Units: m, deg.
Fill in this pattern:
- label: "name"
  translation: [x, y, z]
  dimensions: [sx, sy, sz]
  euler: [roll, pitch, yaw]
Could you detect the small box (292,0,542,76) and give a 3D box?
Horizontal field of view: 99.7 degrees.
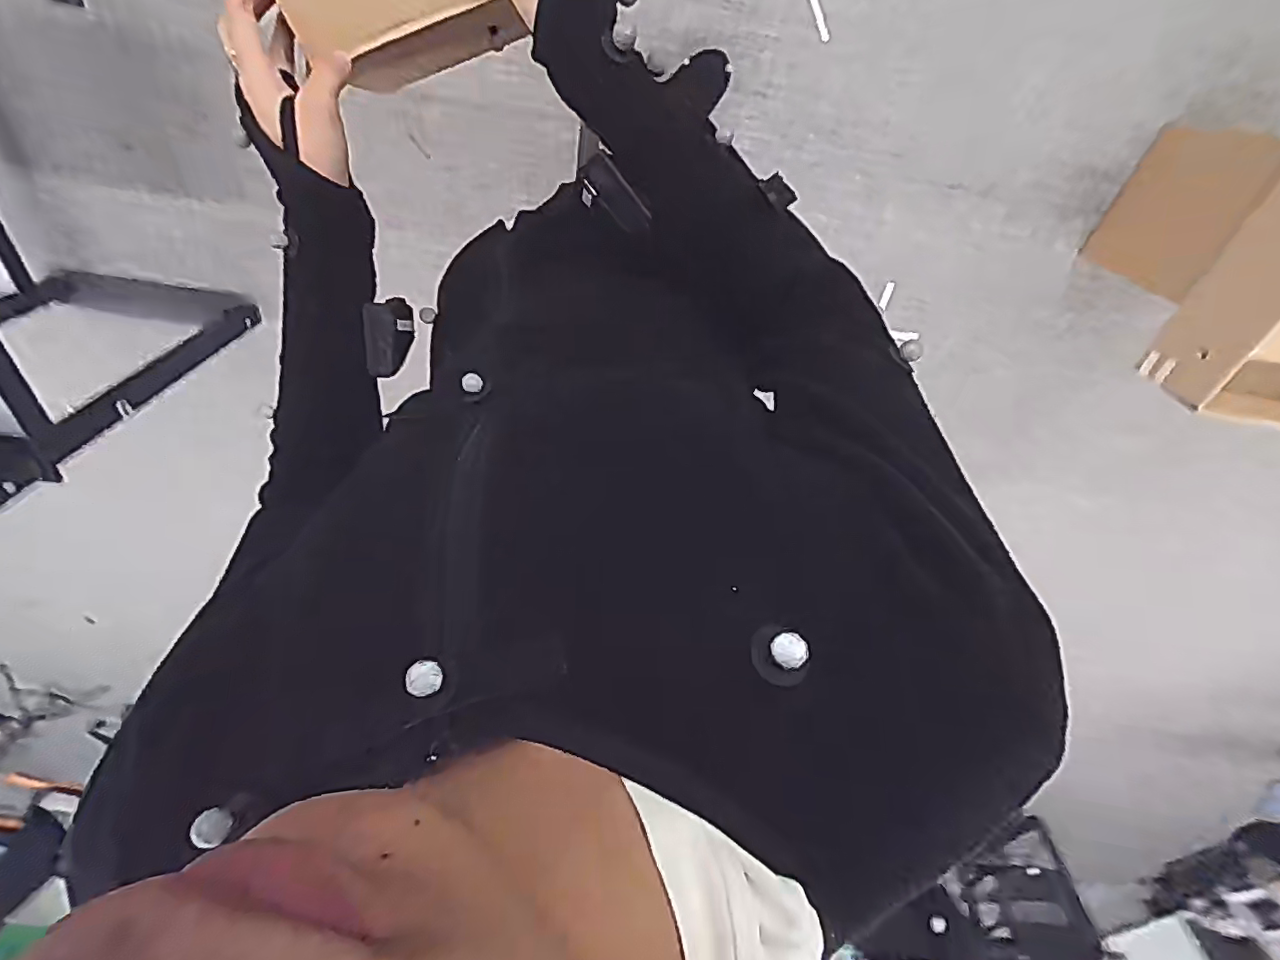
- label: "small box"
  translation: [-0.179, -0.432, 0.404]
  dimensions: [0.179, 0.176, 0.168]
  euler: [-18, 122, 3]
